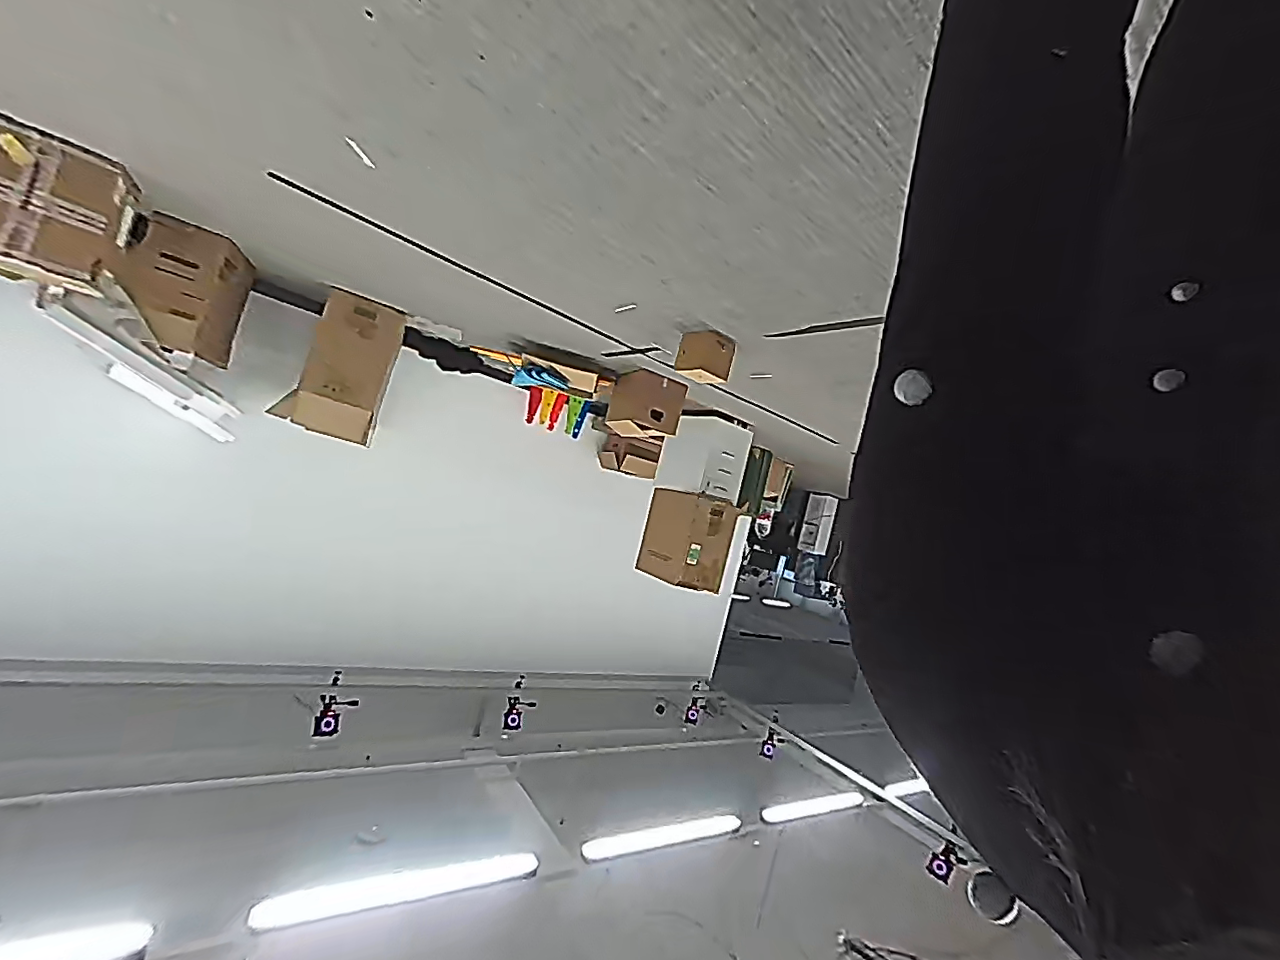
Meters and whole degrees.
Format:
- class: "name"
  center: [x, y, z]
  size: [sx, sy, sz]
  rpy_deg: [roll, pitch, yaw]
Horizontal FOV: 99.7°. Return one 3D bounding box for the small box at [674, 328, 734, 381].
- class: "small box"
  center: [0.274, -0.529, 2.285]
  size: [0.168, 0.176, 0.179]
  rpy_deg: [15, 177, -36]
